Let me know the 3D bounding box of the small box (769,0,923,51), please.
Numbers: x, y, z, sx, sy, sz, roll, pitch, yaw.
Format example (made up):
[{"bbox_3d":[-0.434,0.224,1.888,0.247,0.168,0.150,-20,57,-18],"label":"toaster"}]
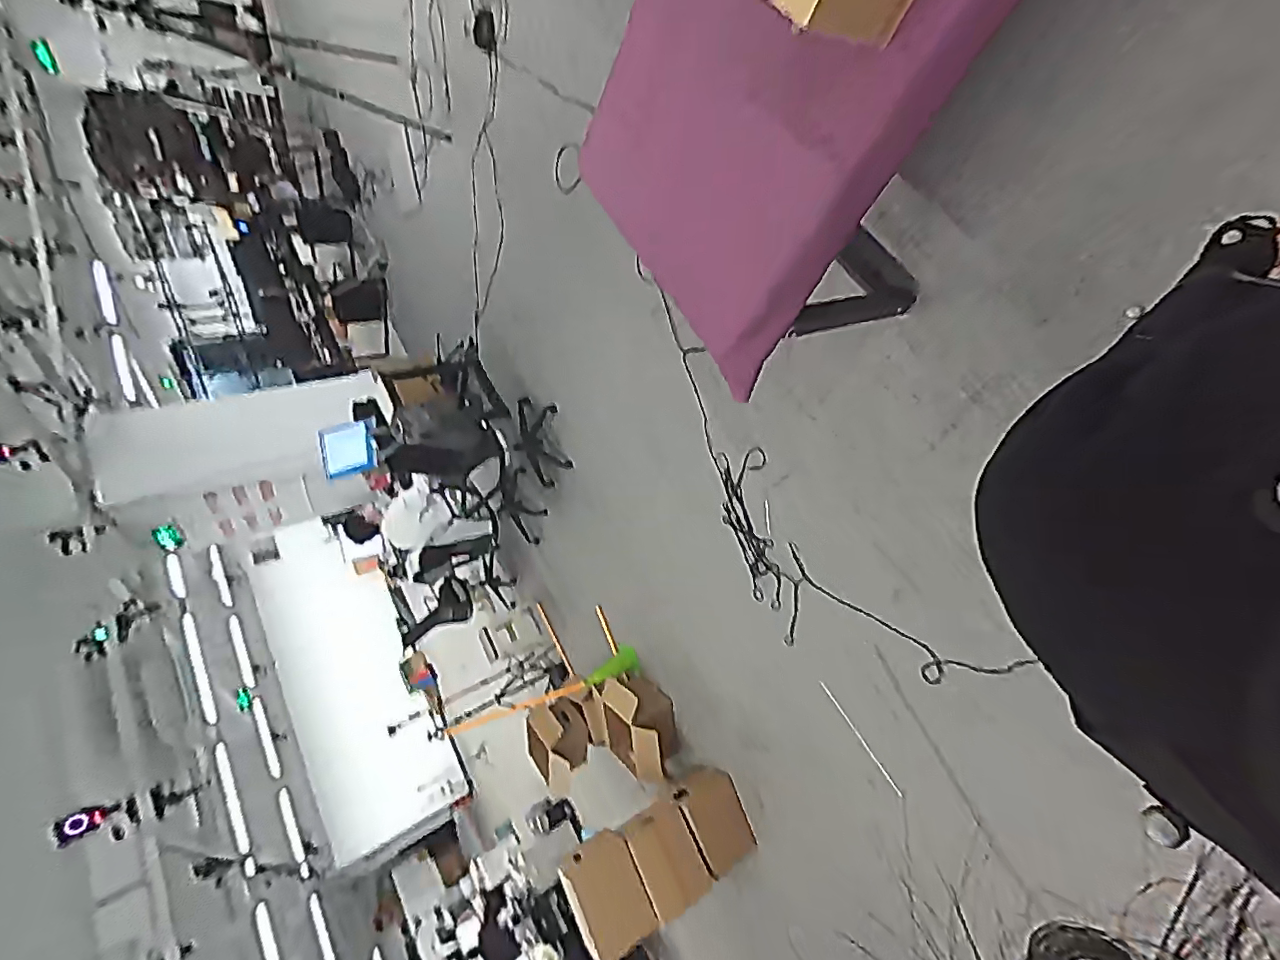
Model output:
[{"bbox_3d":[0.263,-0.661,0.658,0.179,0.176,0.168,59,146,22],"label":"small box"}]
